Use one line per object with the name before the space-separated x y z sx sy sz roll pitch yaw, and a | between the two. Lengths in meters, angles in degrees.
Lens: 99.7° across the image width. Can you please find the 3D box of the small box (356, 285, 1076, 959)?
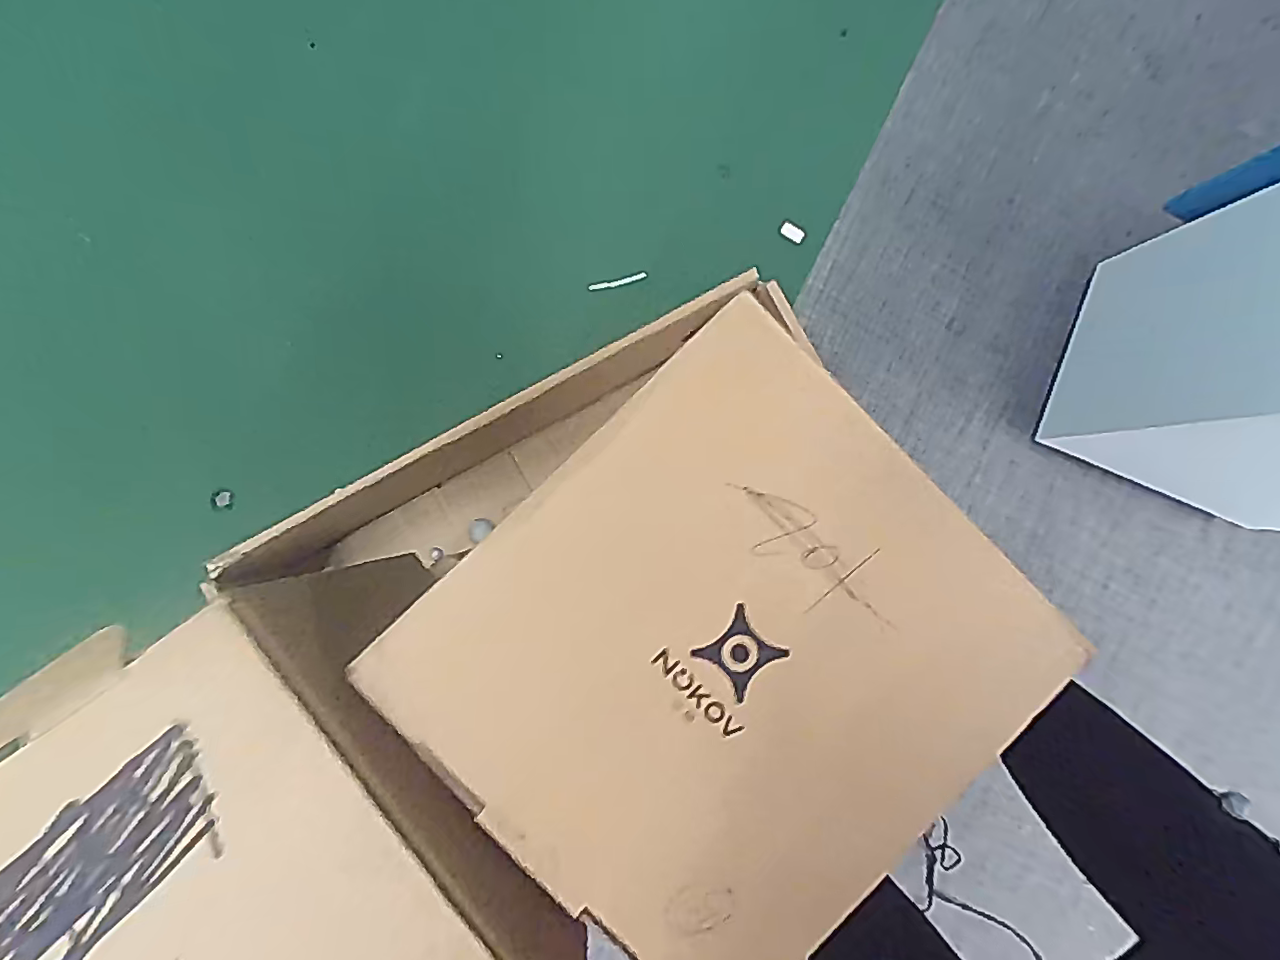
small box | 0.024 0.055 0.252 0.179 0.176 0.168 -44 90 -4
